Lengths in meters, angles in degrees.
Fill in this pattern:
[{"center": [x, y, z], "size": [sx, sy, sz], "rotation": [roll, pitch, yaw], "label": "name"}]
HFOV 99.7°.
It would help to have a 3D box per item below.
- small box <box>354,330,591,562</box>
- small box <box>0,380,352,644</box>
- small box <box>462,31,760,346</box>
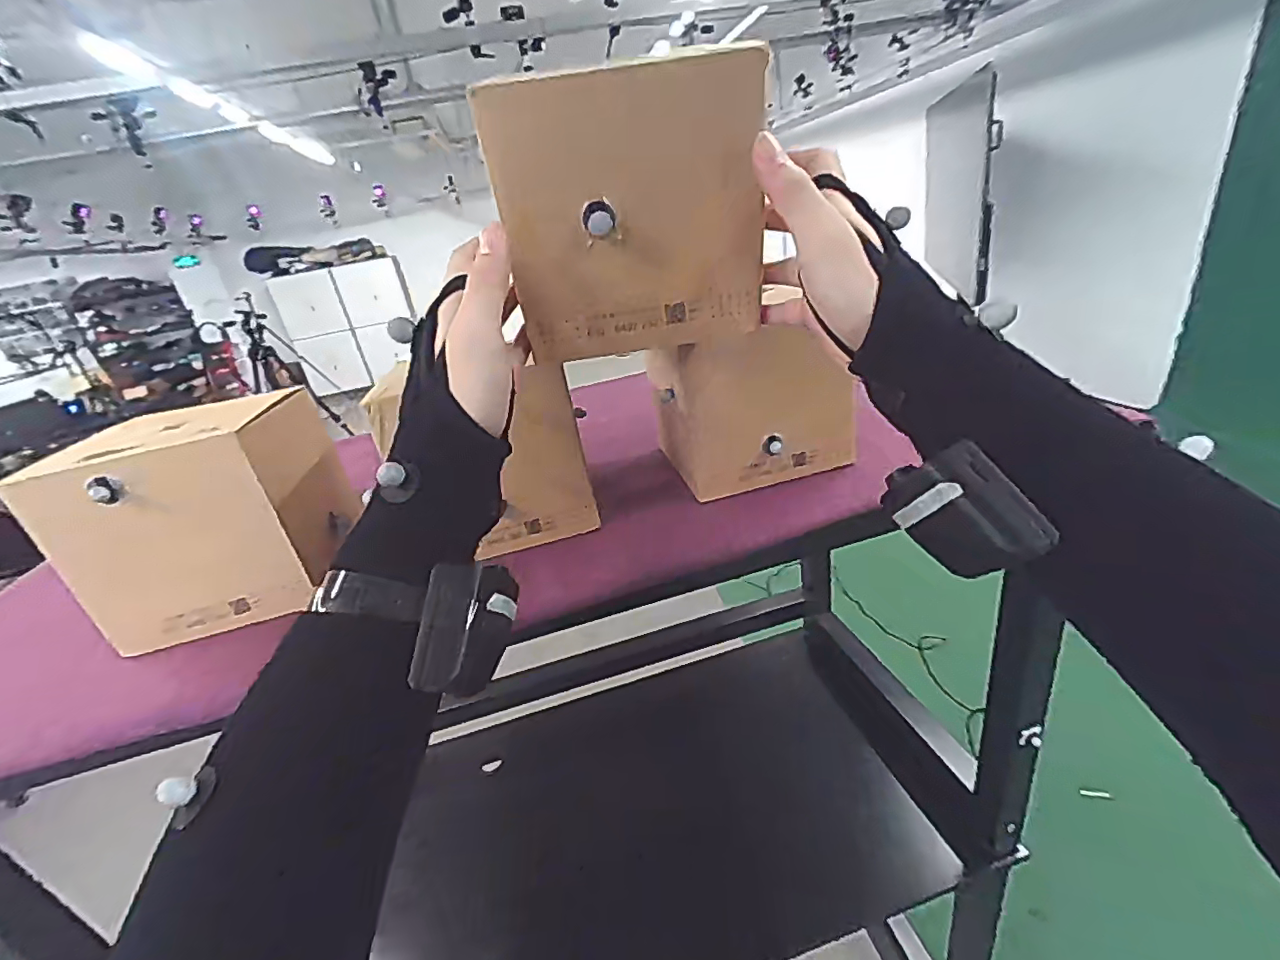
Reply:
[{"center": [-0.152, -0.043, 0.542], "size": [0.168, 0.176, 0.179], "rotation": [-14, 25, -8], "label": "small box"}, {"center": [-0.395, 0.019, 0.503], "size": [0.168, 0.176, 0.179], "rotation": [-15, 24, -8], "label": "small box"}, {"center": [-0.013, -0.209, 0.399], "size": [0.168, 0.176, 0.179], "rotation": [-9, 39, -1], "label": "small box"}]
